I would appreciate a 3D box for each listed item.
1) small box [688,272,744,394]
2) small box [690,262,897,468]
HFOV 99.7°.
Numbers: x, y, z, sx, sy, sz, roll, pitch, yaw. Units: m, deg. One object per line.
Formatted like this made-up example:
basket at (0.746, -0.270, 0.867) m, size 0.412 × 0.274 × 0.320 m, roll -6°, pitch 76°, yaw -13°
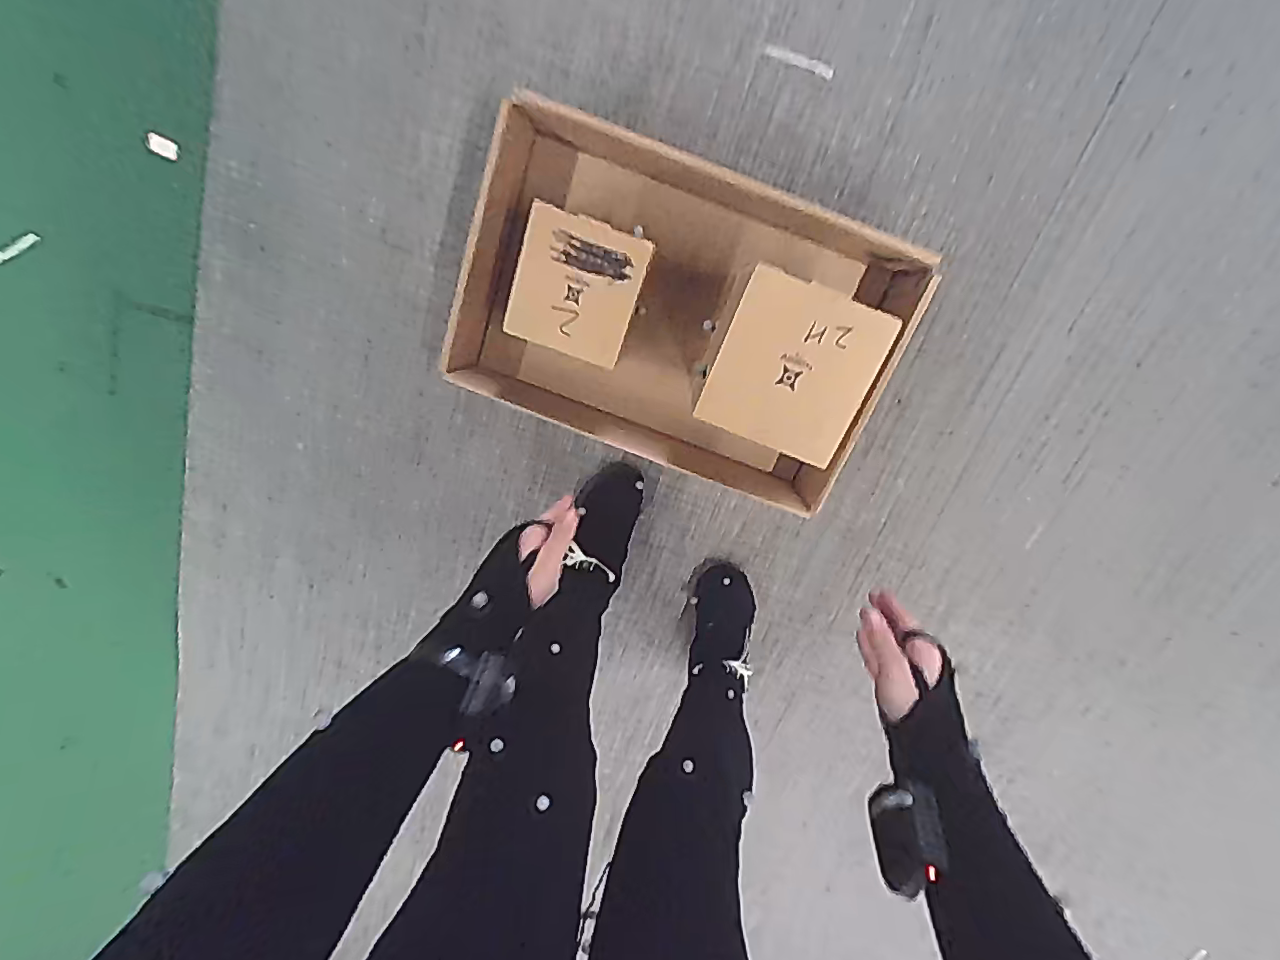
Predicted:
small box at (0.183, -0.194, 0.816) m, size 0.168 × 0.176 × 0.179 m, roll 22°, pitch 109°, yaw -2°
small box at (0.170, -0.143, 0.659) m, size 0.168 × 0.176 × 0.179 m, roll 22°, pitch 109°, yaw -2°
